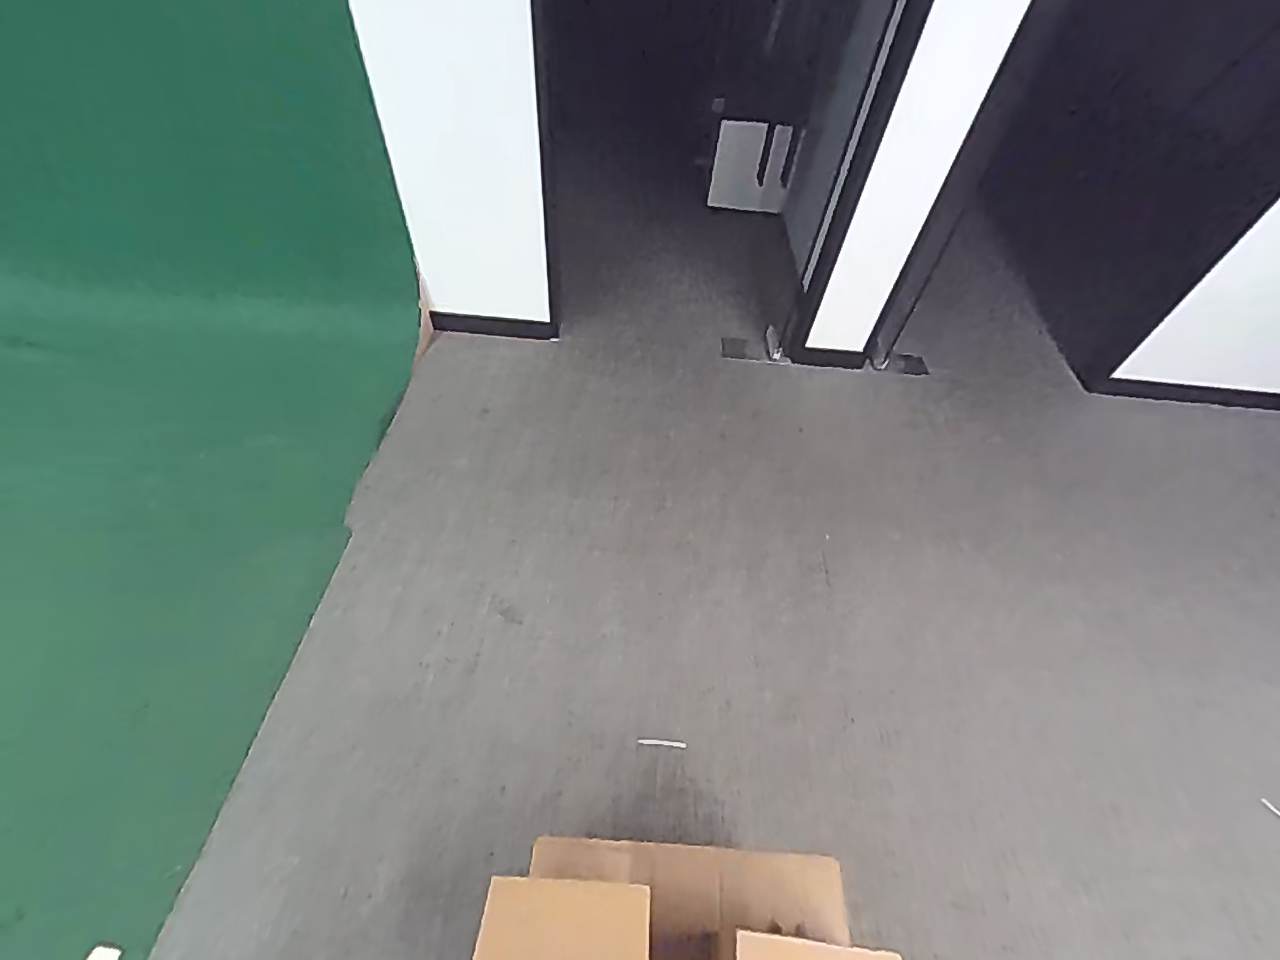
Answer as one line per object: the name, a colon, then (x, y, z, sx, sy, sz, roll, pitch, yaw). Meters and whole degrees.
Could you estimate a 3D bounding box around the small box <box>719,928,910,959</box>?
small box: (0.169, 0.569, 0.534, 0.168, 0.176, 0.179, 7, 49, 2)

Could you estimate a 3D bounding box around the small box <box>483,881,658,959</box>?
small box: (-0.069, 0.528, 0.525, 0.168, 0.176, 0.179, 2, 34, 0)
